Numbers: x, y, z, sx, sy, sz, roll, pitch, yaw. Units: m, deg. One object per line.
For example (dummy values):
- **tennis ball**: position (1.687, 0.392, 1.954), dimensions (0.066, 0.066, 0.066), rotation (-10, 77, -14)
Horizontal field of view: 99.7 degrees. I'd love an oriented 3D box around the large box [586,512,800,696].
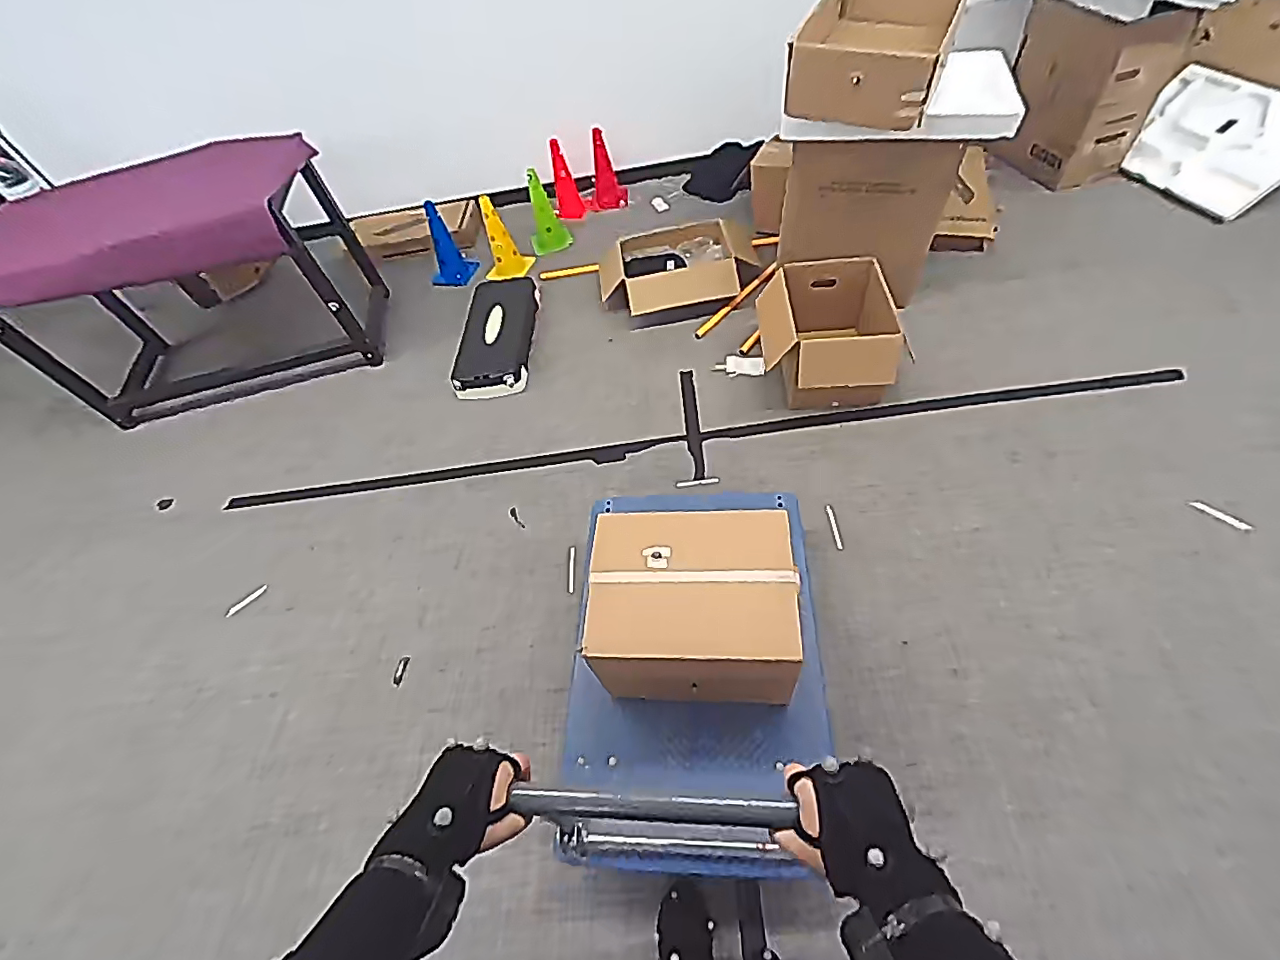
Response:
- **large box**: position (0.123, 0.288, 1.205), dimensions (0.408, 0.320, 0.320), rotation (-3, 54, 9)
